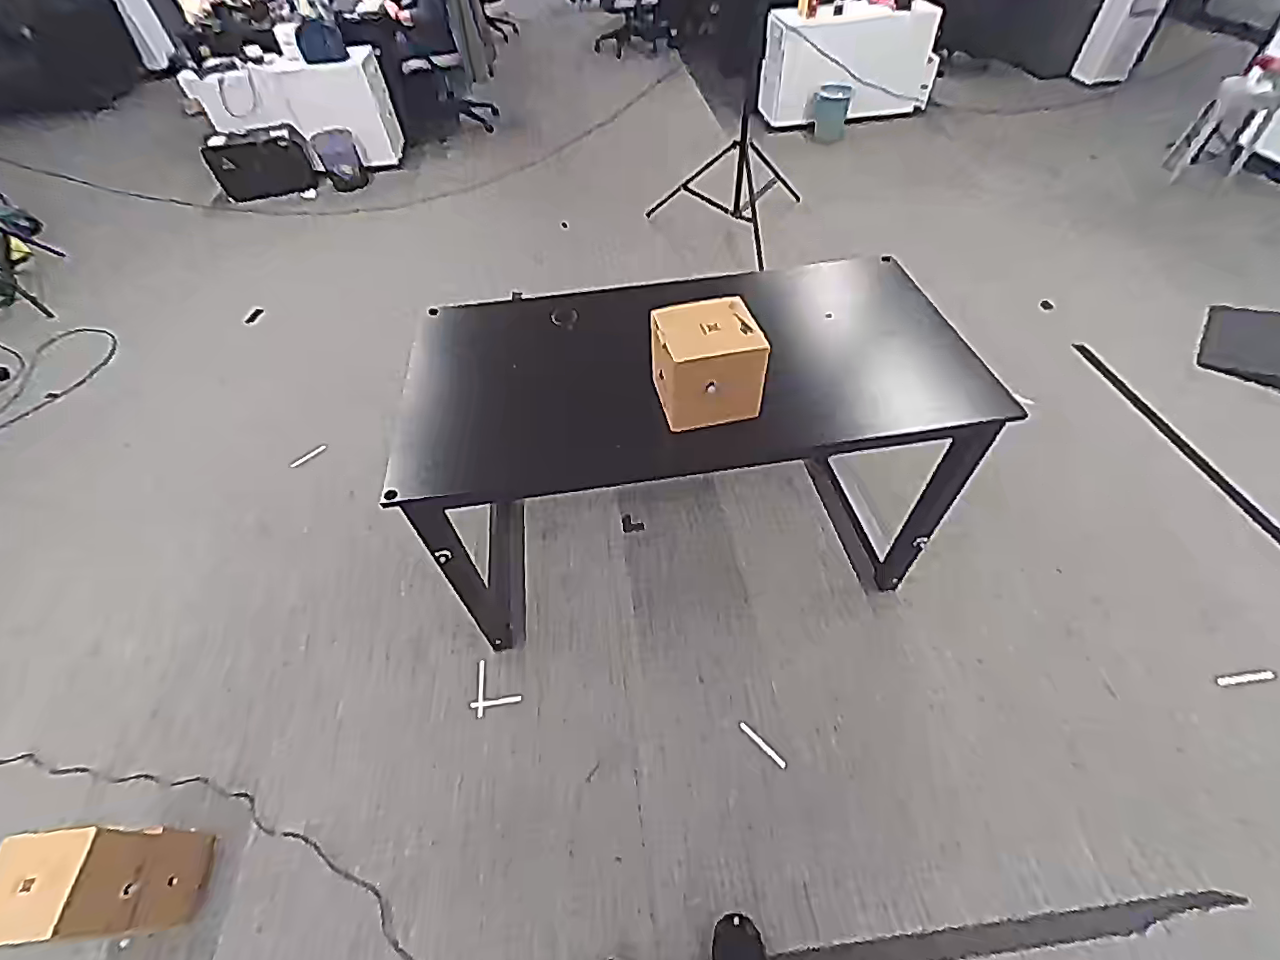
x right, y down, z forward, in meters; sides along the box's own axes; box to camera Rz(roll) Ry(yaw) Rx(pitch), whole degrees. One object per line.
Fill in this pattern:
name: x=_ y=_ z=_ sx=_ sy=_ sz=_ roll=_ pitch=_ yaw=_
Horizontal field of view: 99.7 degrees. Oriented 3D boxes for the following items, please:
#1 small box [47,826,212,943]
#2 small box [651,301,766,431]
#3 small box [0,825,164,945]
small box: x=-1.075 y=0.867 z=1.161 sx=0.168 sy=0.176 sz=0.179 roll=-8 pitch=52 yaw=-3
small box: x=0.126 y=-0.214 z=1.038 sx=0.179 sy=0.176 sz=0.168 roll=-12 pitch=50 yaw=-5
small box: x=-1.084 y=0.772 z=1.030 sx=0.179 sy=0.176 sz=0.168 roll=-5 pitch=53 yaw=-3
